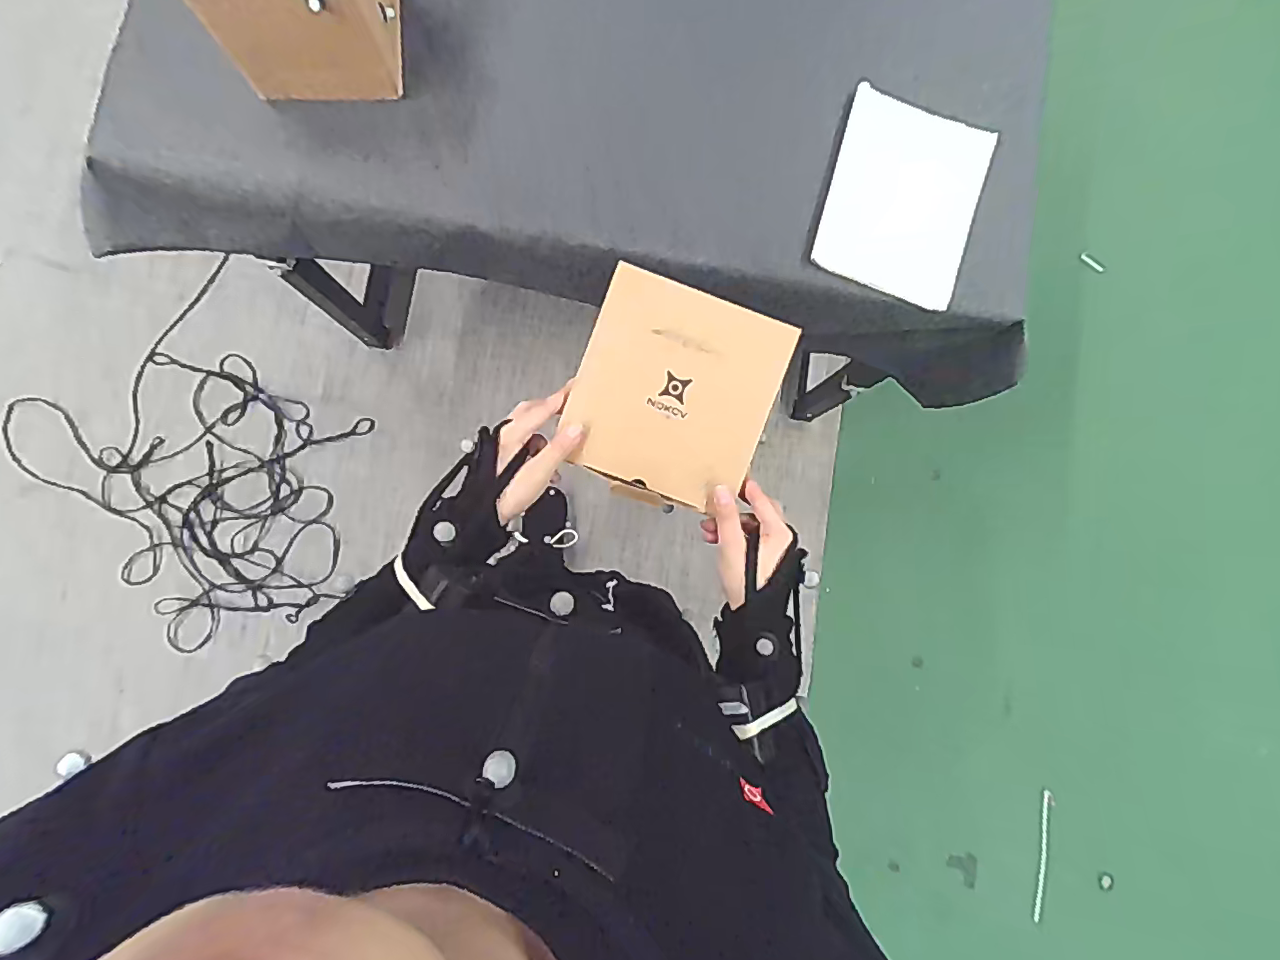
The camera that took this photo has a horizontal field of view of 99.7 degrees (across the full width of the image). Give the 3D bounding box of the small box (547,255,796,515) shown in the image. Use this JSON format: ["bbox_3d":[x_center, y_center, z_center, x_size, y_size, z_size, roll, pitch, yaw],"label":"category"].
[{"bbox_3d":[0.026,-0.081,0.531,0.168,0.176,0.179,20,91,-2],"label":"small box"}]

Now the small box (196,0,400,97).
[{"bbox_3d":[-0.391,-0.571,0.610,0.179,0.176,0.168,-4,84,-5],"label":"small box"}]
